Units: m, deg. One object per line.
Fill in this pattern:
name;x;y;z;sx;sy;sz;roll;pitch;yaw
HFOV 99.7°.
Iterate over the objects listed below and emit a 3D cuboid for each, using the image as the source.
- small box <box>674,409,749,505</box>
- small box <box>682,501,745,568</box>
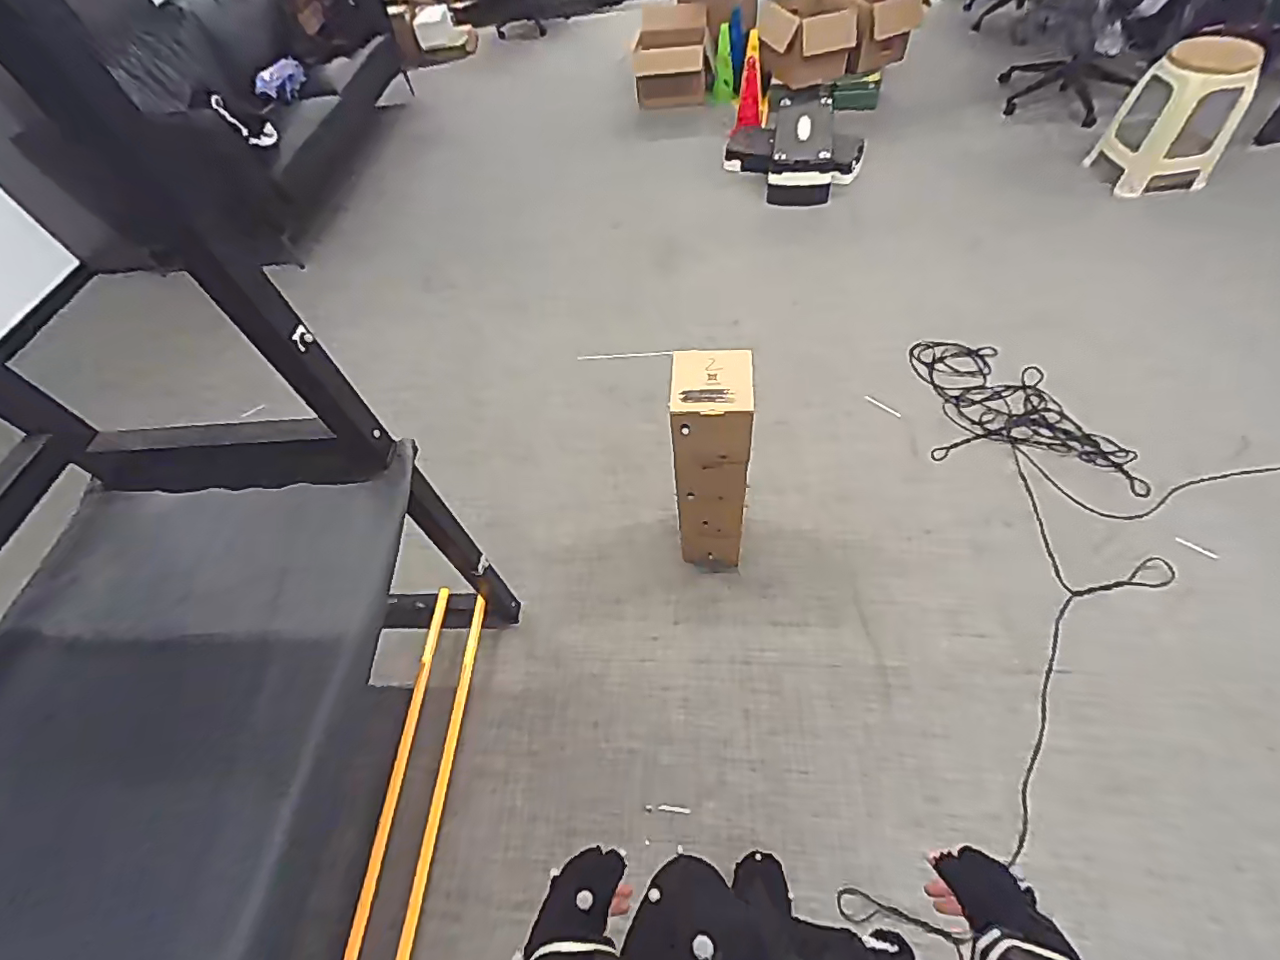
small box;0.176;-0.053;1.304;0.168;0.176;0.179;2;55;9
small box;0.216;0.134;1.568;0.168;0.176;0.179;3;56;11
